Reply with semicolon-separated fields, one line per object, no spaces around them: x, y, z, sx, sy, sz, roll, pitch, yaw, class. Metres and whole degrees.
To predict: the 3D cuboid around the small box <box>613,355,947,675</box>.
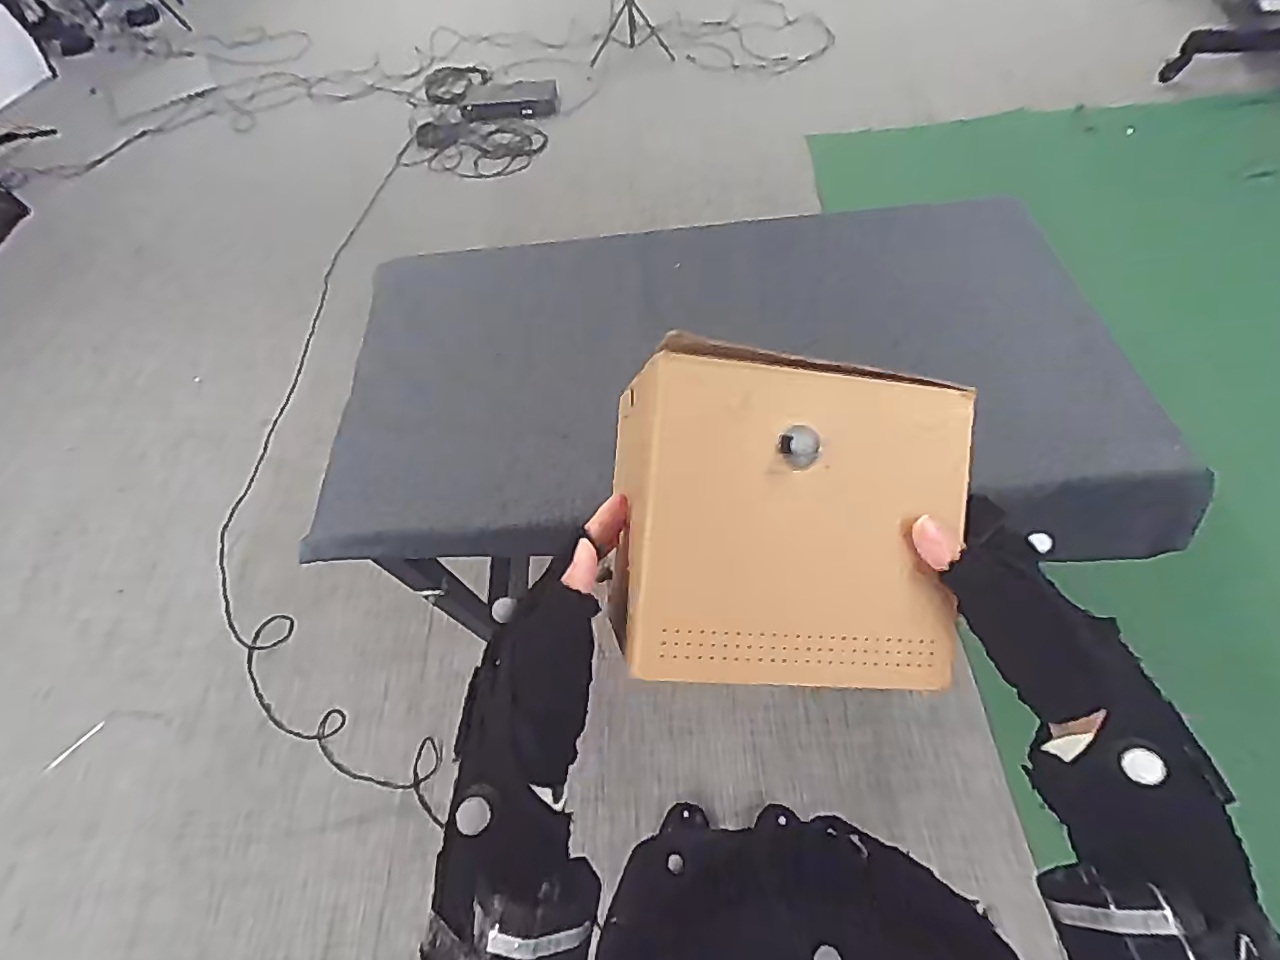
0.077;0.026;0.375;0.179;0.168;0.176;6;89;-10;small box
